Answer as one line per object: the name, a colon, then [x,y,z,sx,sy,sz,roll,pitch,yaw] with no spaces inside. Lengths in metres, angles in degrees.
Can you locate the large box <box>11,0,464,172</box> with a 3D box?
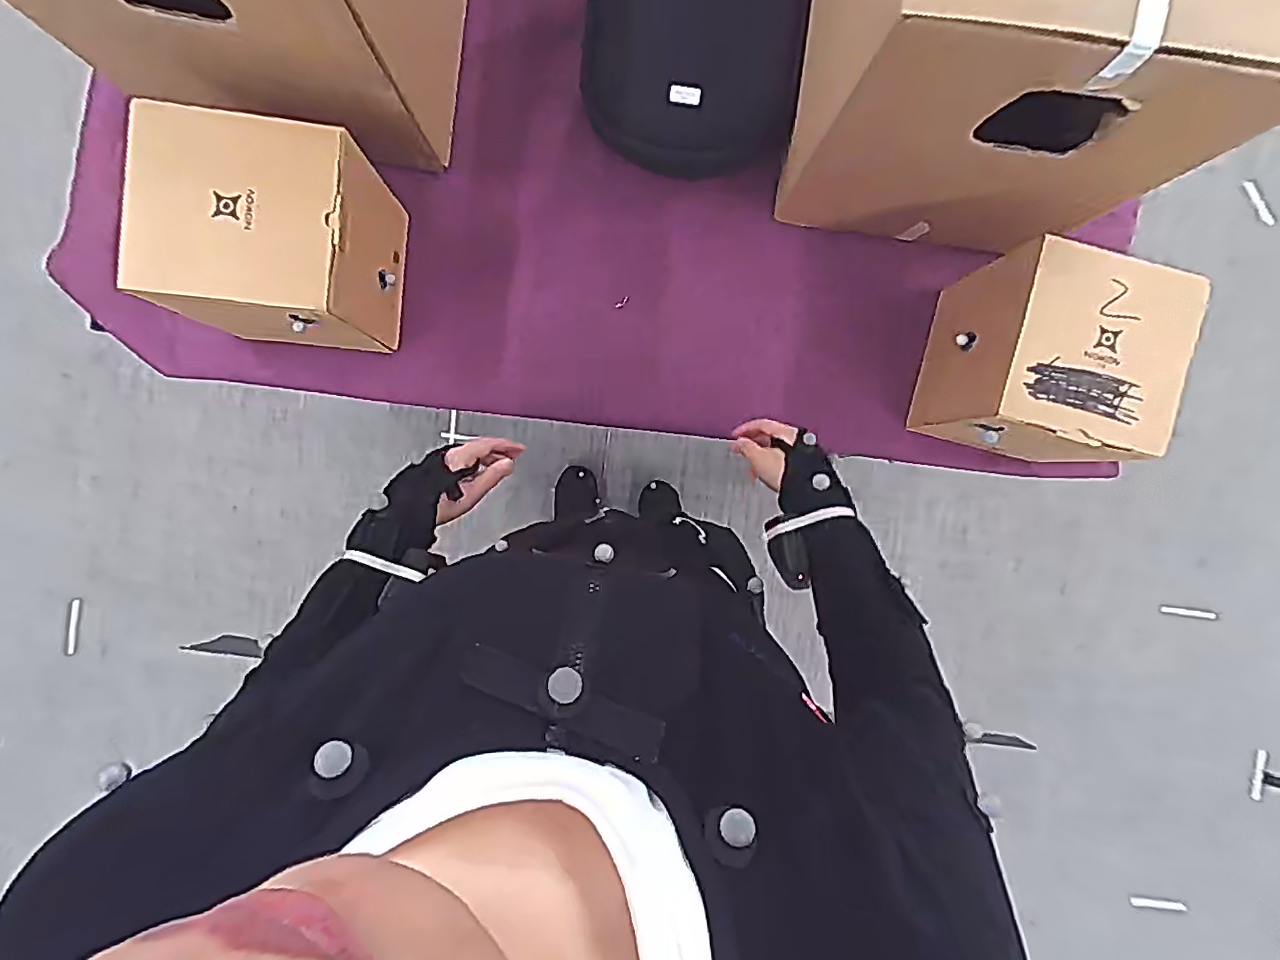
large box: [-0.344,-0.570,0.479,0.320,0.320,0.408,7,94,-4]
